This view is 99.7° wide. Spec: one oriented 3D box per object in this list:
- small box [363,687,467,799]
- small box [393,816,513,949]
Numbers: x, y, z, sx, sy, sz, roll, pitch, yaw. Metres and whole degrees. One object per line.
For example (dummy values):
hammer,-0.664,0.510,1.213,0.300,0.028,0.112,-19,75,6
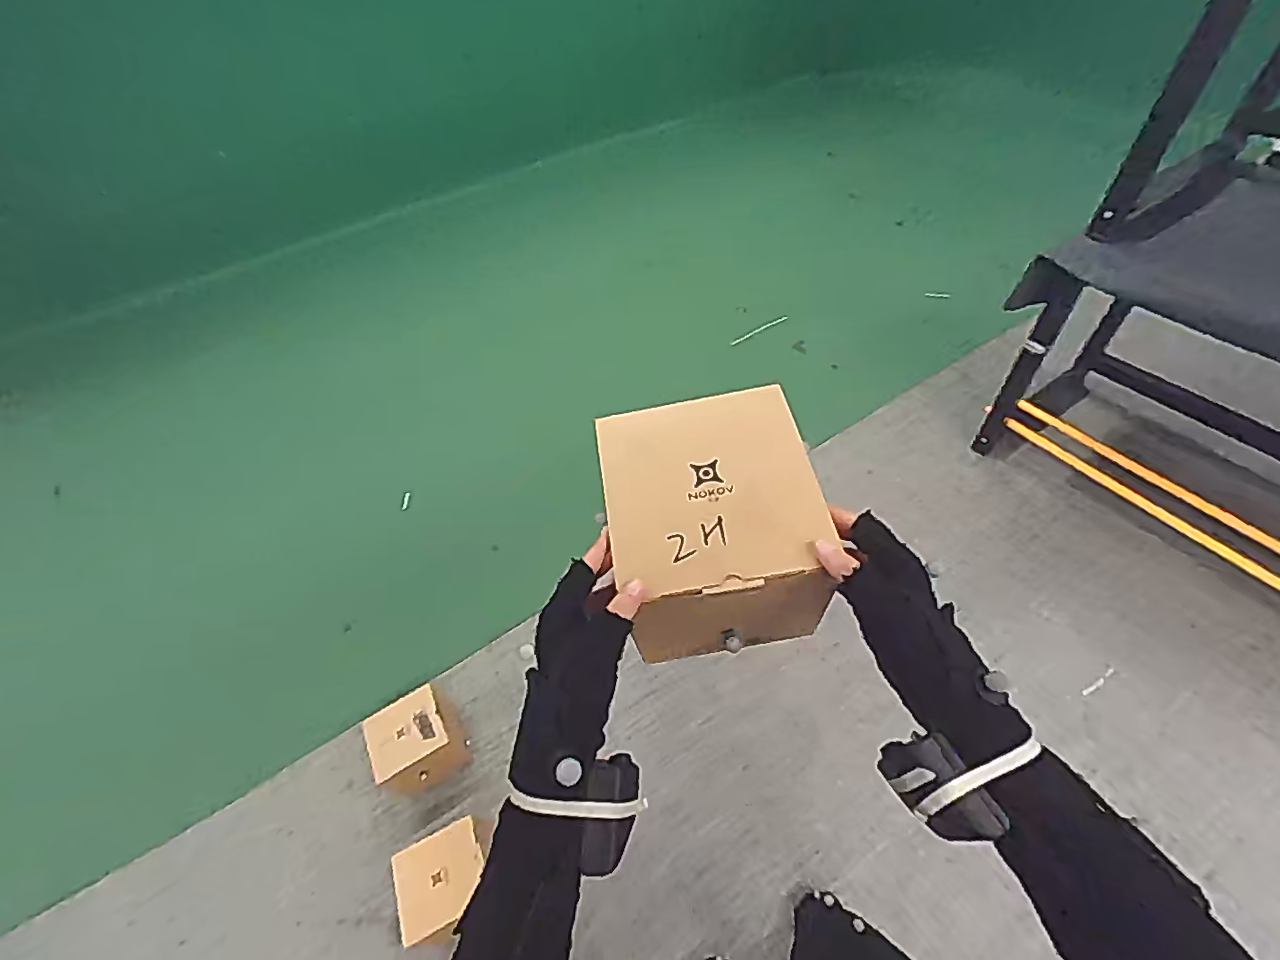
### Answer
small box,-0.548,0.655,1.343,0.179,0.176,0.168,-28,52,-15
small box,-0.395,0.858,1.151,0.179,0.176,0.168,-24,51,-13
